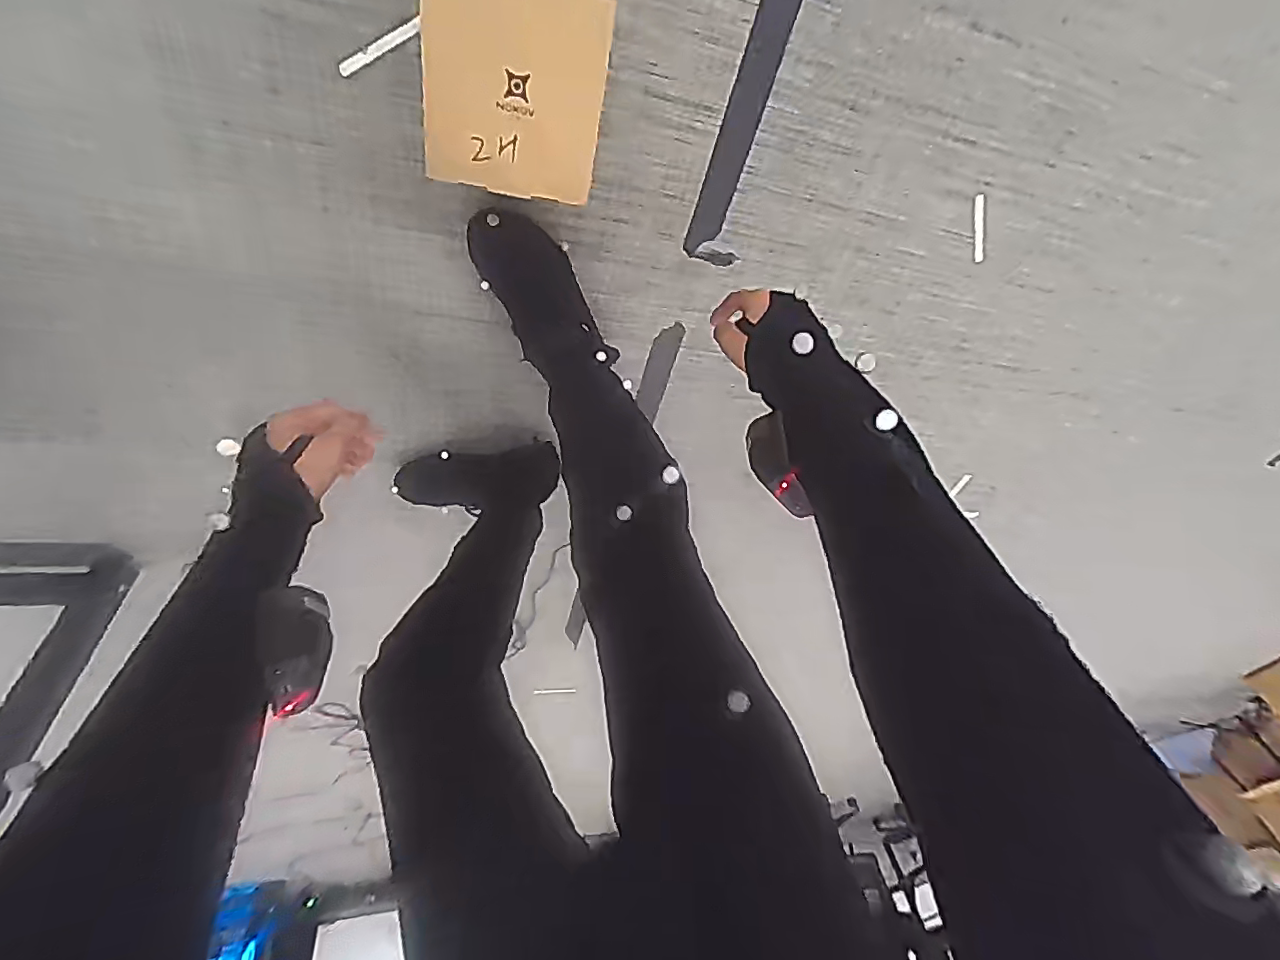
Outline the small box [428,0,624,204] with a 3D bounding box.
[{"bbox_3d":[-0.125,-0.418,0.557,0.168,0.176,0.179,3,134,-16],"label":"small box"}]
